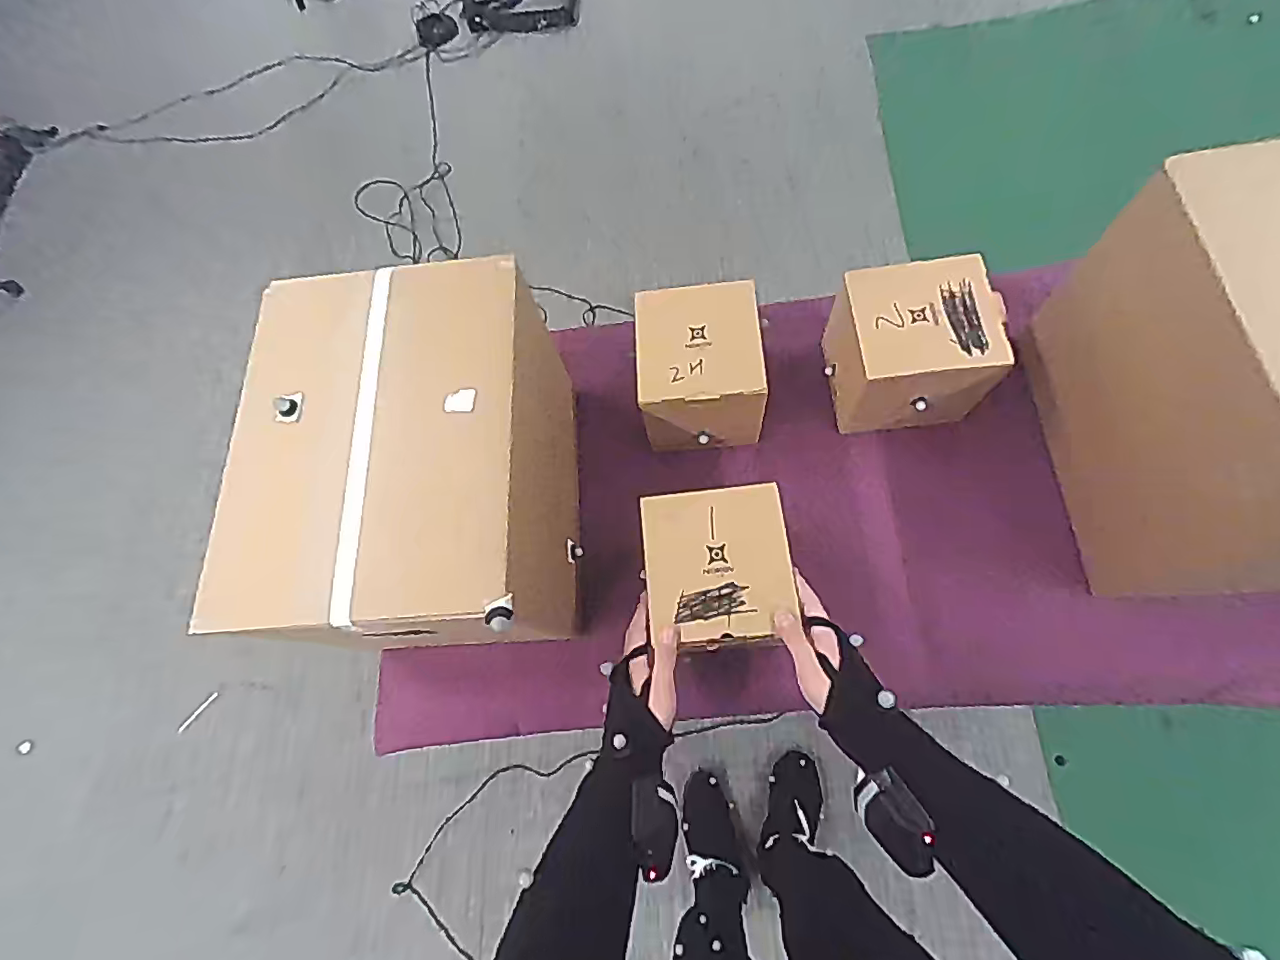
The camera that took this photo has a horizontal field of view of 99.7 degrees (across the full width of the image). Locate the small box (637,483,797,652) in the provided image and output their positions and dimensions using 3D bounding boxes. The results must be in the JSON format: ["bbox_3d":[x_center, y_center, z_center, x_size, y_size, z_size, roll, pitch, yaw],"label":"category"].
[{"bbox_3d":[0.093,0.121,0.684,0.168,0.176,0.179,-7,68,5],"label":"small box"}]

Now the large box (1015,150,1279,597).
[{"bbox_3d":[0.706,-0.094,0.605,0.320,0.320,0.408,-4,70,8],"label":"large box"}]
